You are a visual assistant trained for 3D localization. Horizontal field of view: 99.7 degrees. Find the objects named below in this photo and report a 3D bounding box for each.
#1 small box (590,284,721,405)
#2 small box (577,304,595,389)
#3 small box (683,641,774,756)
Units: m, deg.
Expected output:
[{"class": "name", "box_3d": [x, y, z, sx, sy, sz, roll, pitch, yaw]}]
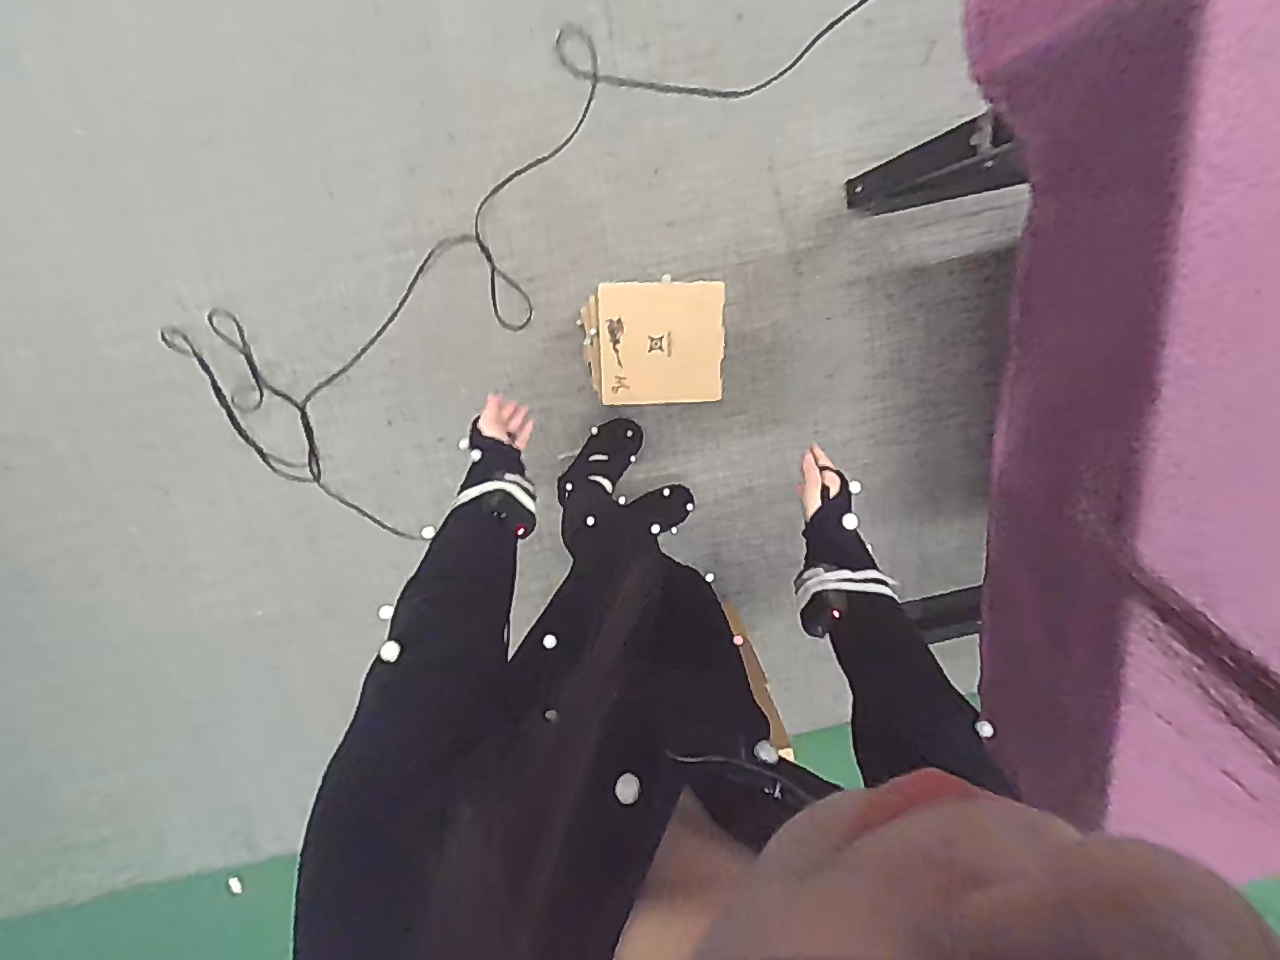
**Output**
[{"class": "small box", "box_3d": [0.017, -0.212, 0.831, 0.179, 0.176, 0.168, -3, 108, -6]}, {"class": "small box", "box_3d": [-0.034, -0.295, 1.147, 0.179, 0.176, 0.168, -10, 109, -4]}, {"class": "small box", "box_3d": [0.200, 0.496, 1.256, 0.168, 0.176, 0.179, -11, 110, -1]}]
